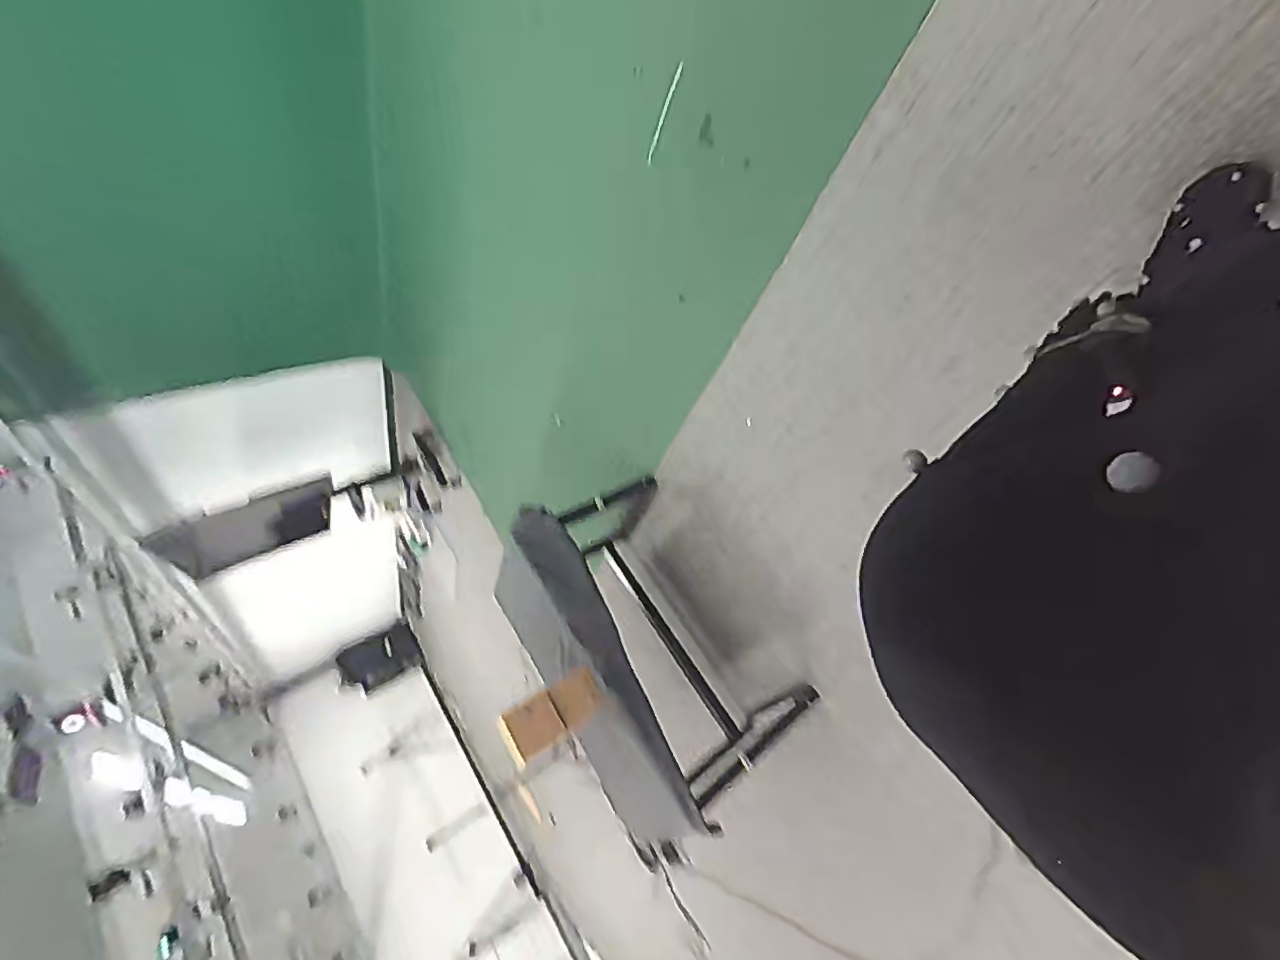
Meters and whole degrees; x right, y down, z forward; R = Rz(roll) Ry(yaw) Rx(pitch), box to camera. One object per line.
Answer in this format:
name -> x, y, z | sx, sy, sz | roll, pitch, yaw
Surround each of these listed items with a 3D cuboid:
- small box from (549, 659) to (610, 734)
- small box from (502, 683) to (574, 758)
small box -> -0.231, 0.784, 1.967 | 0.168, 0.176, 0.179 | 52, 143, 21
small box -> -0.355, 0.825, 1.870 | 0.179, 0.176, 0.168 | 54, 147, 17
